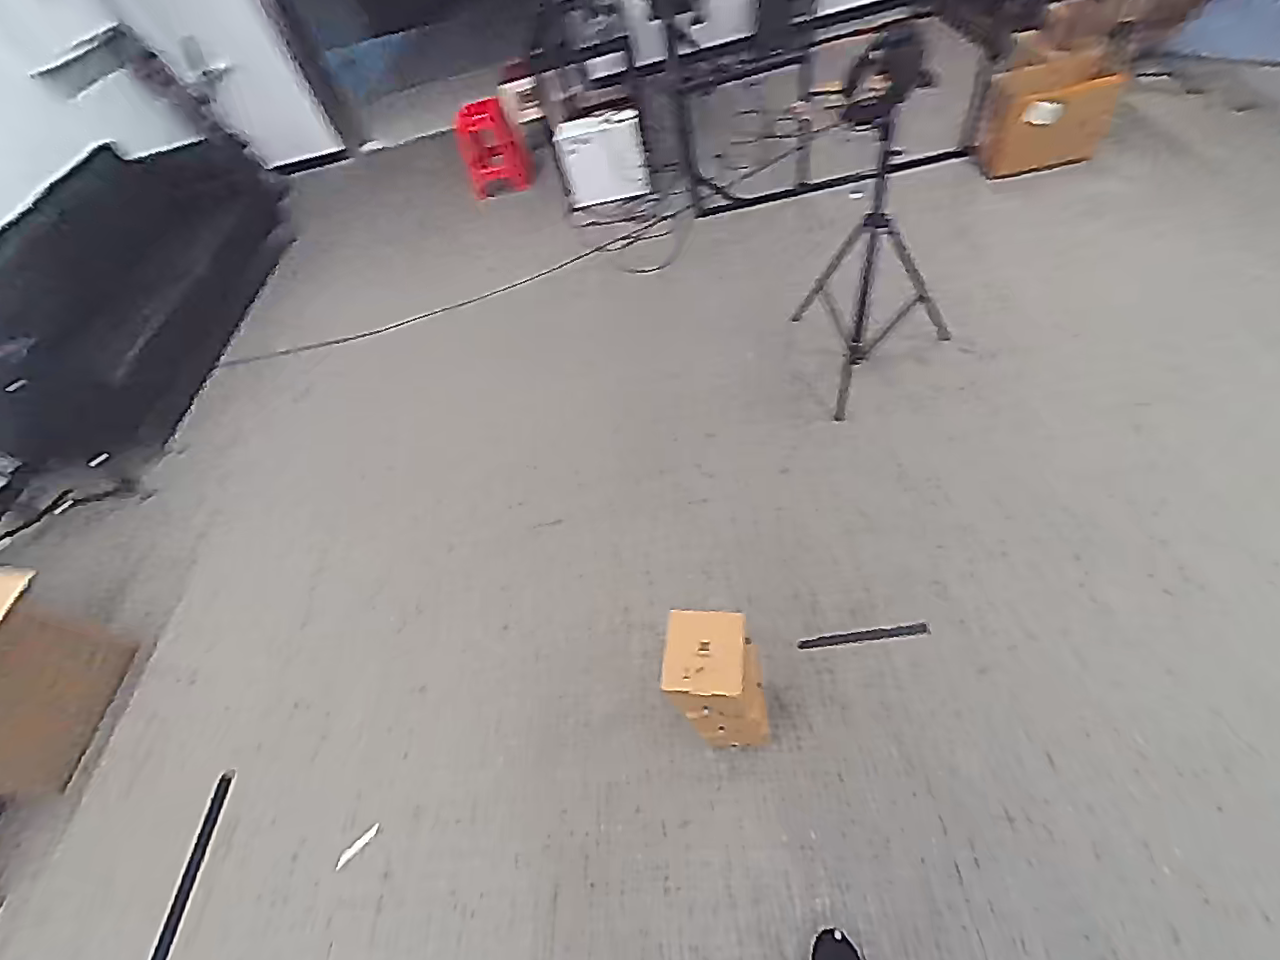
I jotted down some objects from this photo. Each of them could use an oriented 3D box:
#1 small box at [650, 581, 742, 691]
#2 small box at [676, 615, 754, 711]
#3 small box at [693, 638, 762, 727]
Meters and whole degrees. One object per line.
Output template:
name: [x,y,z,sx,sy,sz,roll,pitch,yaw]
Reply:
small box: [0.128,0.336,1.160,0.168,0.176,0.179,0,56,16]
small box: [0.180,0.435,1.282,0.168,0.176,0.179,-5,55,12]
small box: [0.224,0.529,1.406,0.168,0.176,0.179,-7,53,11]
